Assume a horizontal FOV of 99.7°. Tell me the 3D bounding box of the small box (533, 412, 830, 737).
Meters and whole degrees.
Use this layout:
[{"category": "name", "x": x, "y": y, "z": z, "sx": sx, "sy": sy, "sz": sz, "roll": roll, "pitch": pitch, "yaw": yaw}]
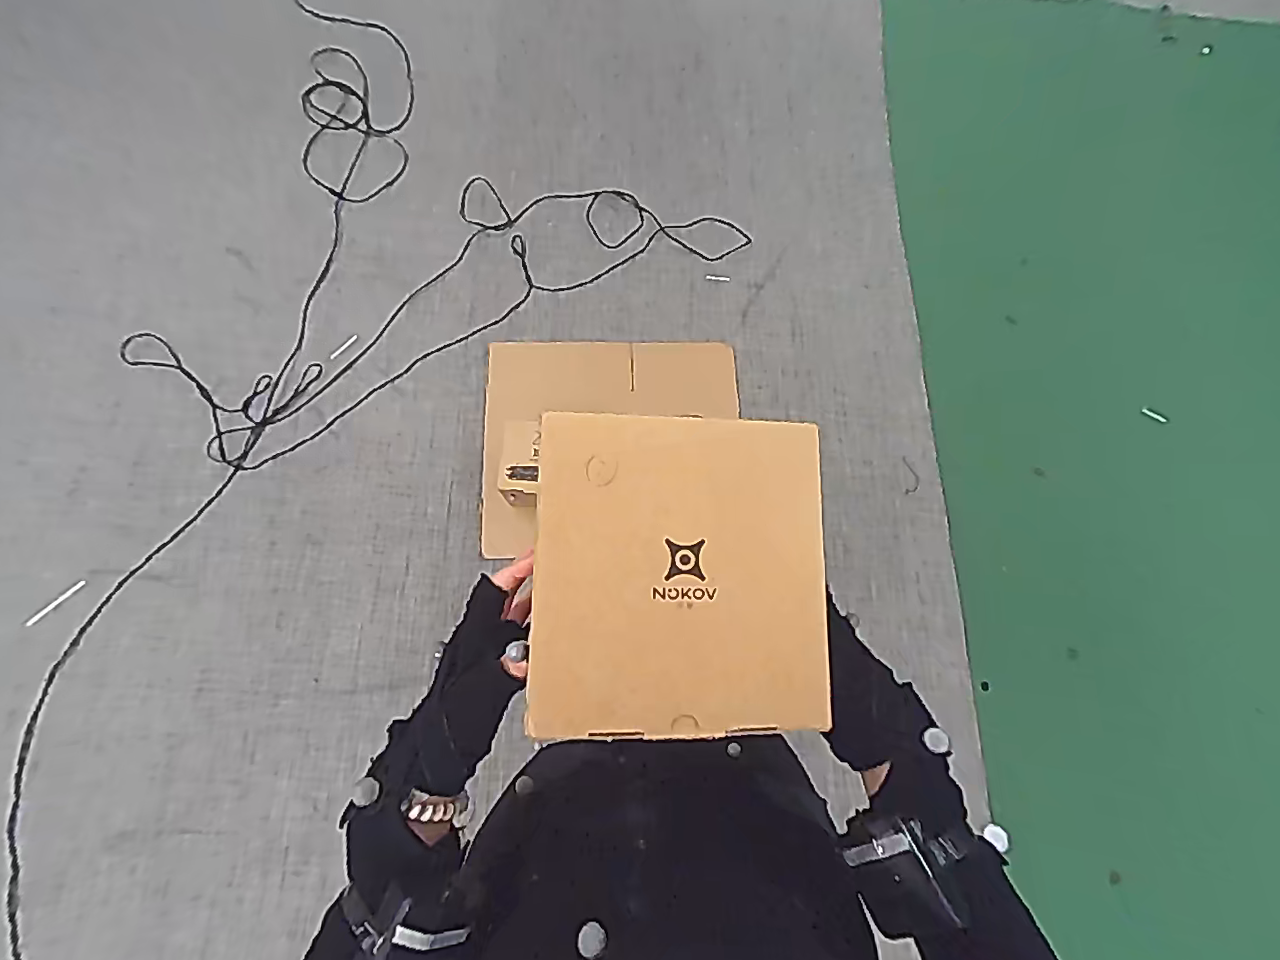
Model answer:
[{"category": "small box", "x": 0.013, "y": 0.063, "z": 0.380, "sx": 0.168, "sy": 0.176, "sz": 0.179, "roll": 1, "pitch": 81, "yaw": -8}]
